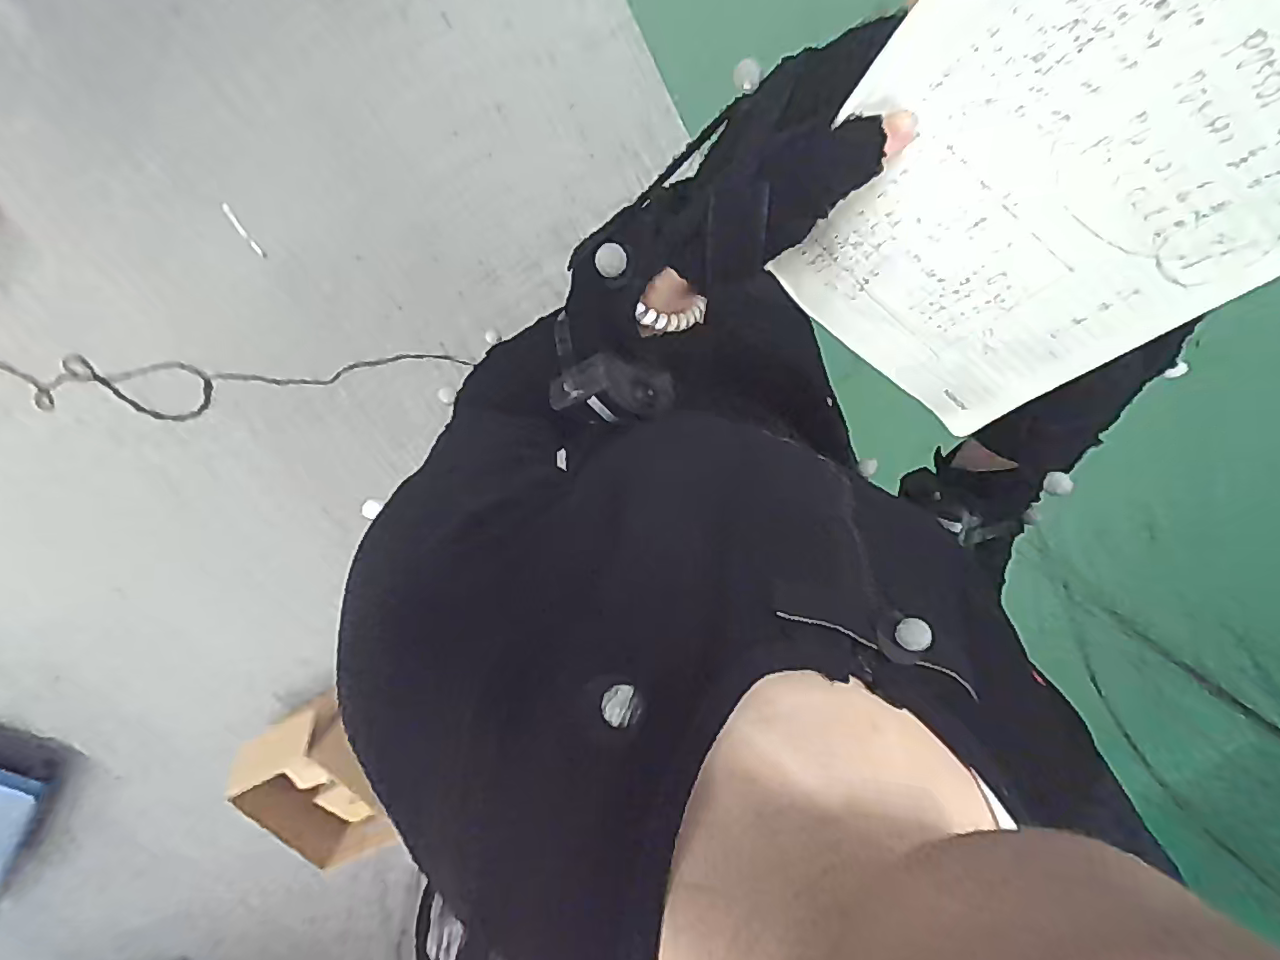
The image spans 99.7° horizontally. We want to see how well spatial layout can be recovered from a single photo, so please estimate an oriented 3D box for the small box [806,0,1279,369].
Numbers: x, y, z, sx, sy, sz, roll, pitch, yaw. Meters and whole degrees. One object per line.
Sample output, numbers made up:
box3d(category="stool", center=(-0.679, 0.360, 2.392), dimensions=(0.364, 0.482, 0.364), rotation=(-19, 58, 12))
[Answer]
box3d(category="small box", center=(0.213, -0.205, 0.320), dimensions=(0.168, 0.176, 0.179), rotation=(26, 128, -6))
